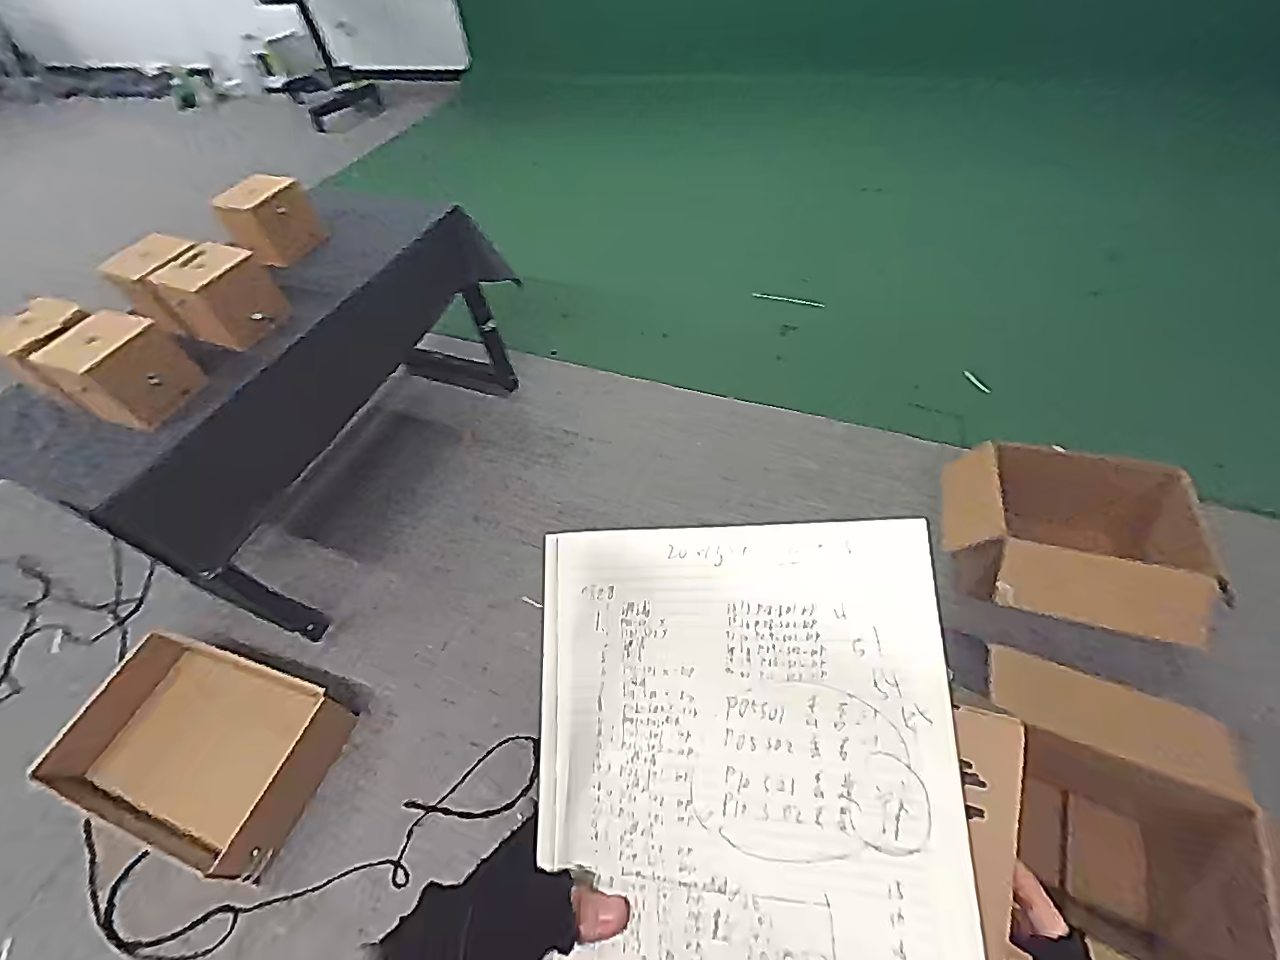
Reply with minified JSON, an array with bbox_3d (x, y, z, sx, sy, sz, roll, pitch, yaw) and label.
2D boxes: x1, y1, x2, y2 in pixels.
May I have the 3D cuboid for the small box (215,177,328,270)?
[{"bbox_3d":[-1.032,-0.730,1.539,0.168,0.176,0.179,16,57,19],"label":"small box"}]
